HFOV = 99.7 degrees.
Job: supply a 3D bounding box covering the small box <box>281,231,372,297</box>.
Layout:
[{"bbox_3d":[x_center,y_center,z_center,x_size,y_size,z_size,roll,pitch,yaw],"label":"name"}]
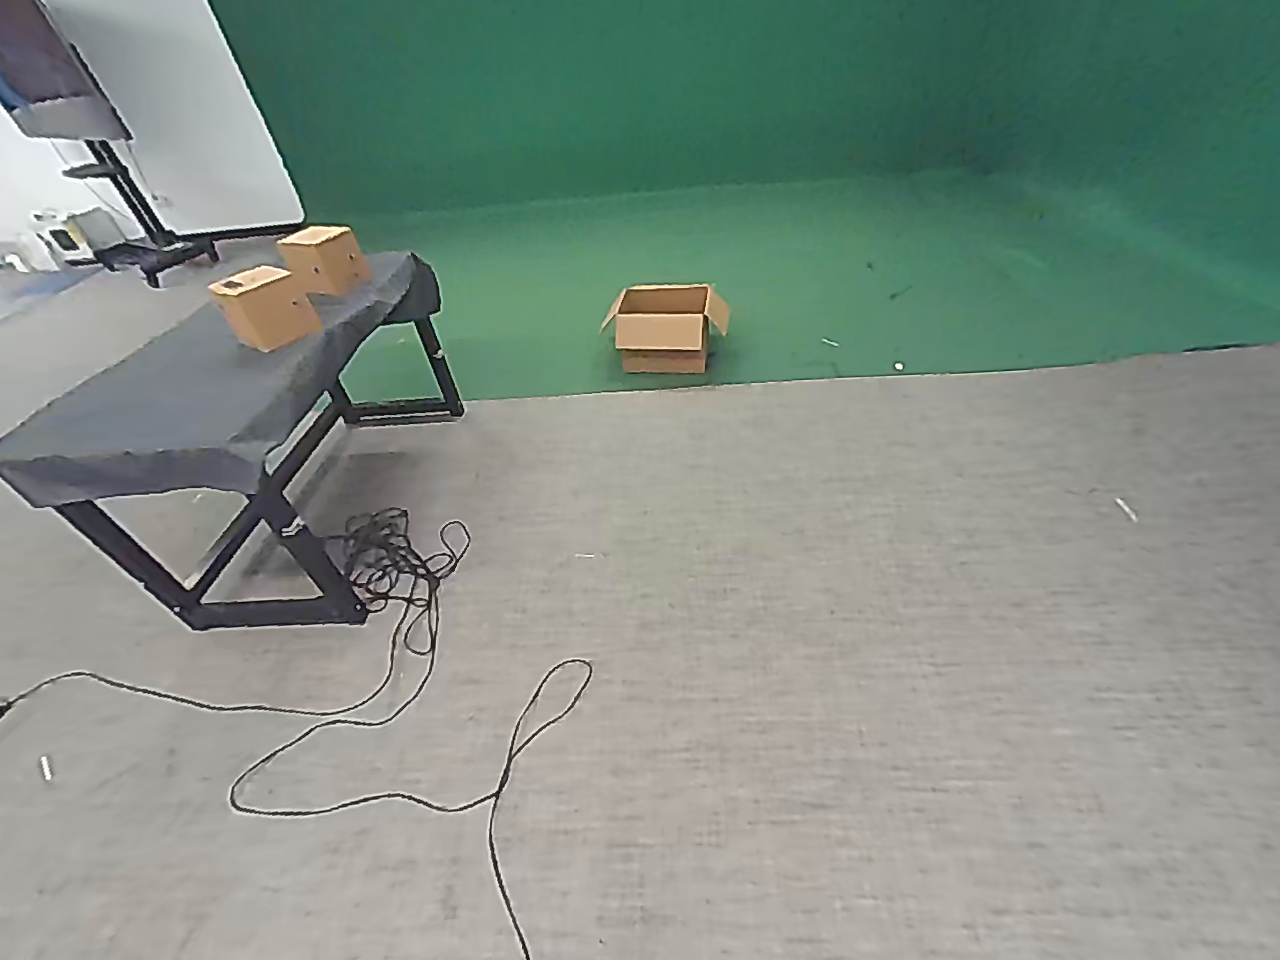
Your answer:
[{"bbox_3d":[-1.062,-0.737,1.850,0.179,0.176,0.168,9,43,19],"label":"small box"}]
